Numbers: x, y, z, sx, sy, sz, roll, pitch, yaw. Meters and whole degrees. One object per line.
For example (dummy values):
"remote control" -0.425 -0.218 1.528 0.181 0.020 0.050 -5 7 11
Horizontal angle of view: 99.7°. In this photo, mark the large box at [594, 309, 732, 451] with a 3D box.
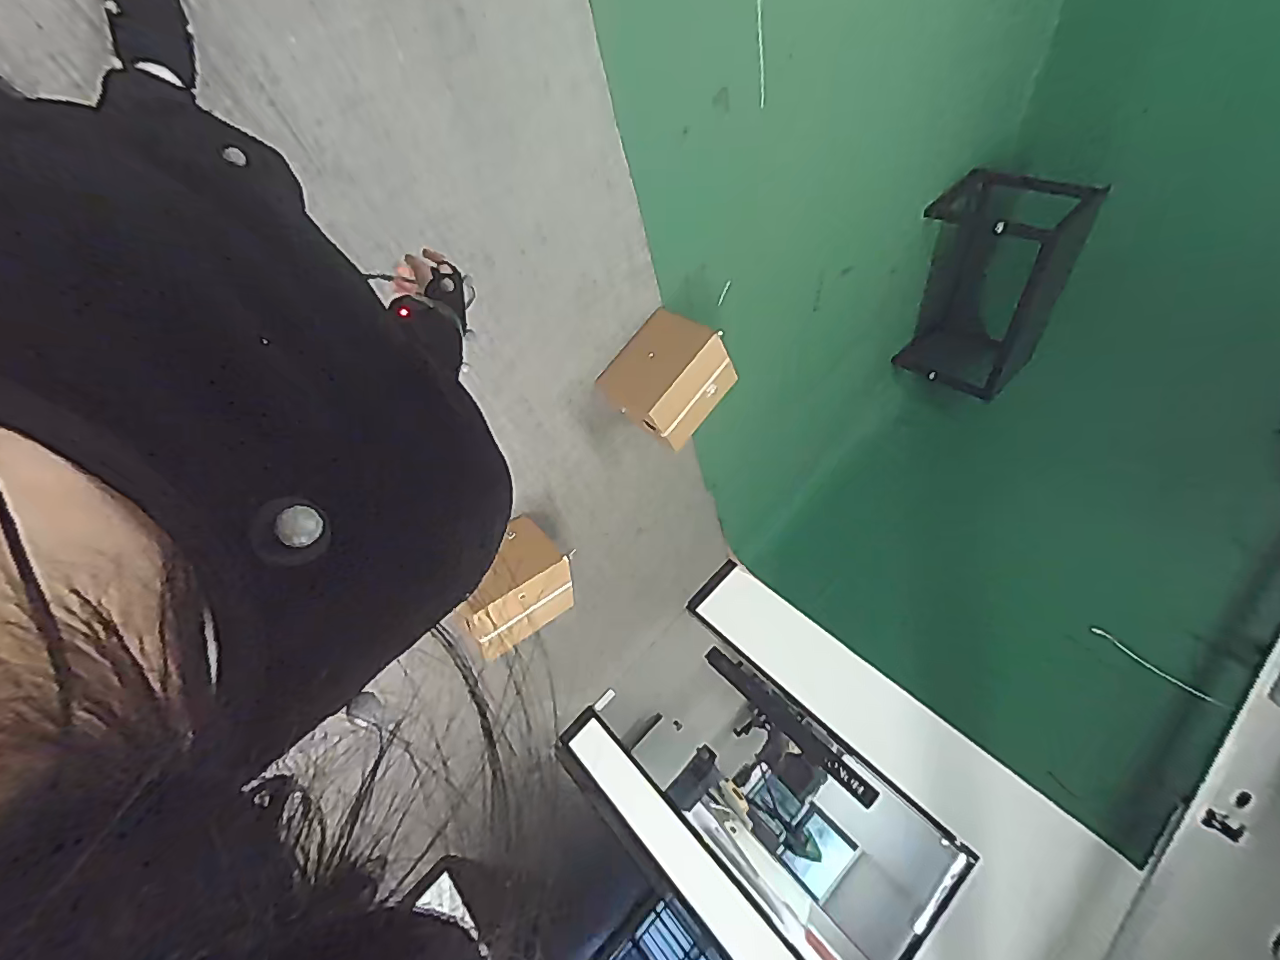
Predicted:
"large box" 0.096 -0.399 2.165 0.408 0.320 0.320 -51 147 -5
